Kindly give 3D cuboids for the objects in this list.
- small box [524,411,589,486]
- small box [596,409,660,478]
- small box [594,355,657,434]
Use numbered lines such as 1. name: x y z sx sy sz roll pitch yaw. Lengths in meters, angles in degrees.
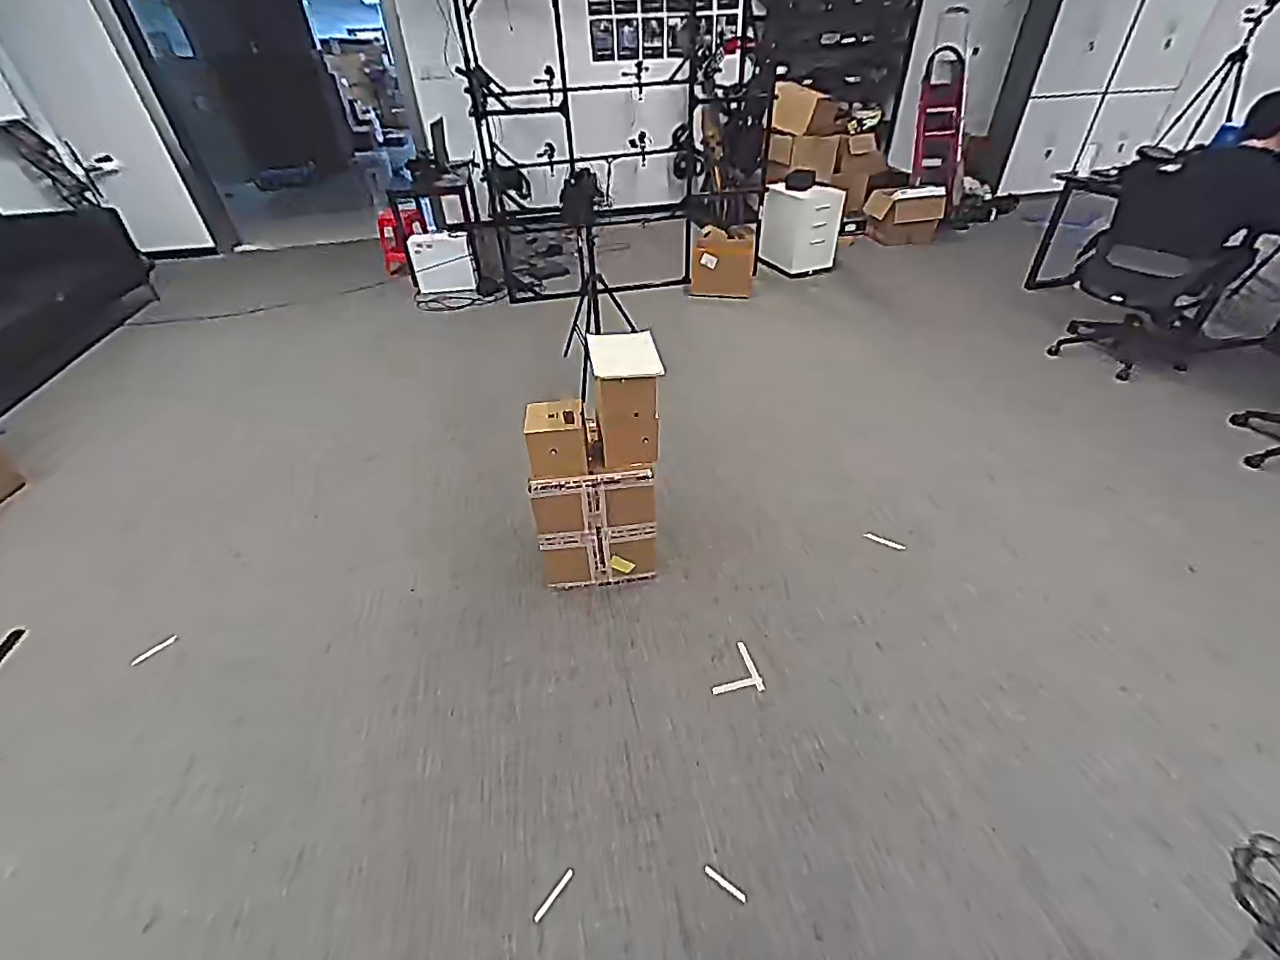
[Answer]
1. small box: -0.255 -0.097 1.700 0.179 0.176 0.168 -5 41 -1
2. small box: -0.042 -0.128 1.729 0.179 0.176 0.168 -9 40 -10
3. small box: -0.047 -0.259 1.631 0.168 0.176 0.179 -7 39 -9
